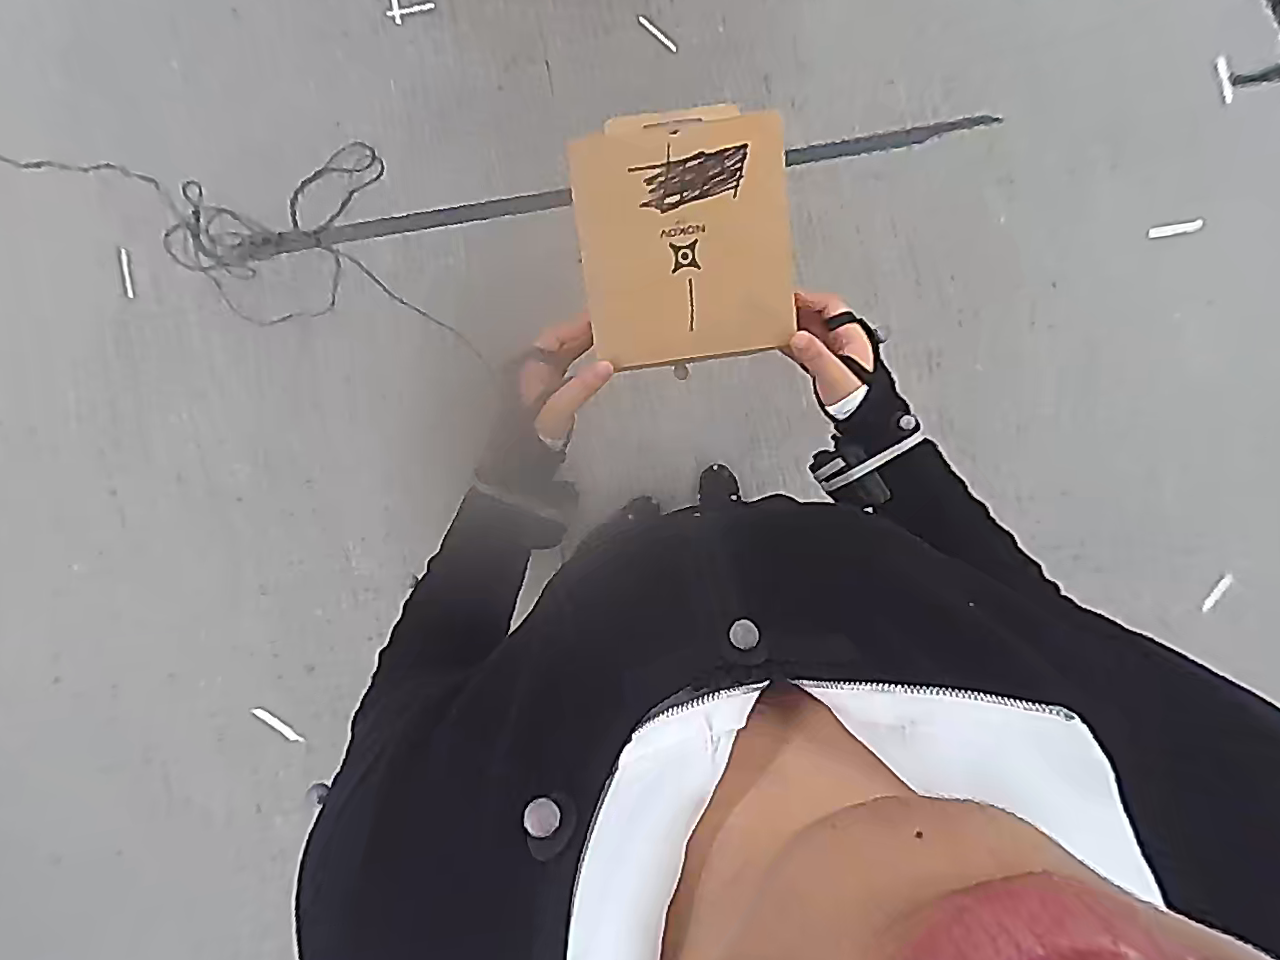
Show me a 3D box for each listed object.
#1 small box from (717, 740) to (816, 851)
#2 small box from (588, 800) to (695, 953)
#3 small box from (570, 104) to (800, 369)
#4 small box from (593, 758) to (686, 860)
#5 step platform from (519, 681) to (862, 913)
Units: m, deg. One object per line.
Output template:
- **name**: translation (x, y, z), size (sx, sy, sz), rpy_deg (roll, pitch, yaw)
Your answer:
- **small box**: translation (0.274, 0.675, 1.208), size (0.168, 0.176, 0.179), rpy_deg (-12, 89, 0)
- **small box**: translation (0.000, 0.751, 1.045), size (0.179, 0.176, 0.168), rpy_deg (-8, 89, -1)
- **small box**: translation (0.036, -0.202, 0.499), size (0.168, 0.176, 0.179), rpy_deg (-8, 101, 2)
- **small box**: translation (-0.001, 0.738, 1.208), size (0.179, 0.176, 0.168), rpy_deg (-10, 89, -1)
- **step platform**: translation (0.103, 0.663, 1.173), size (0.684, 0.204, 0.286), rpy_deg (-12, 89, 0)
